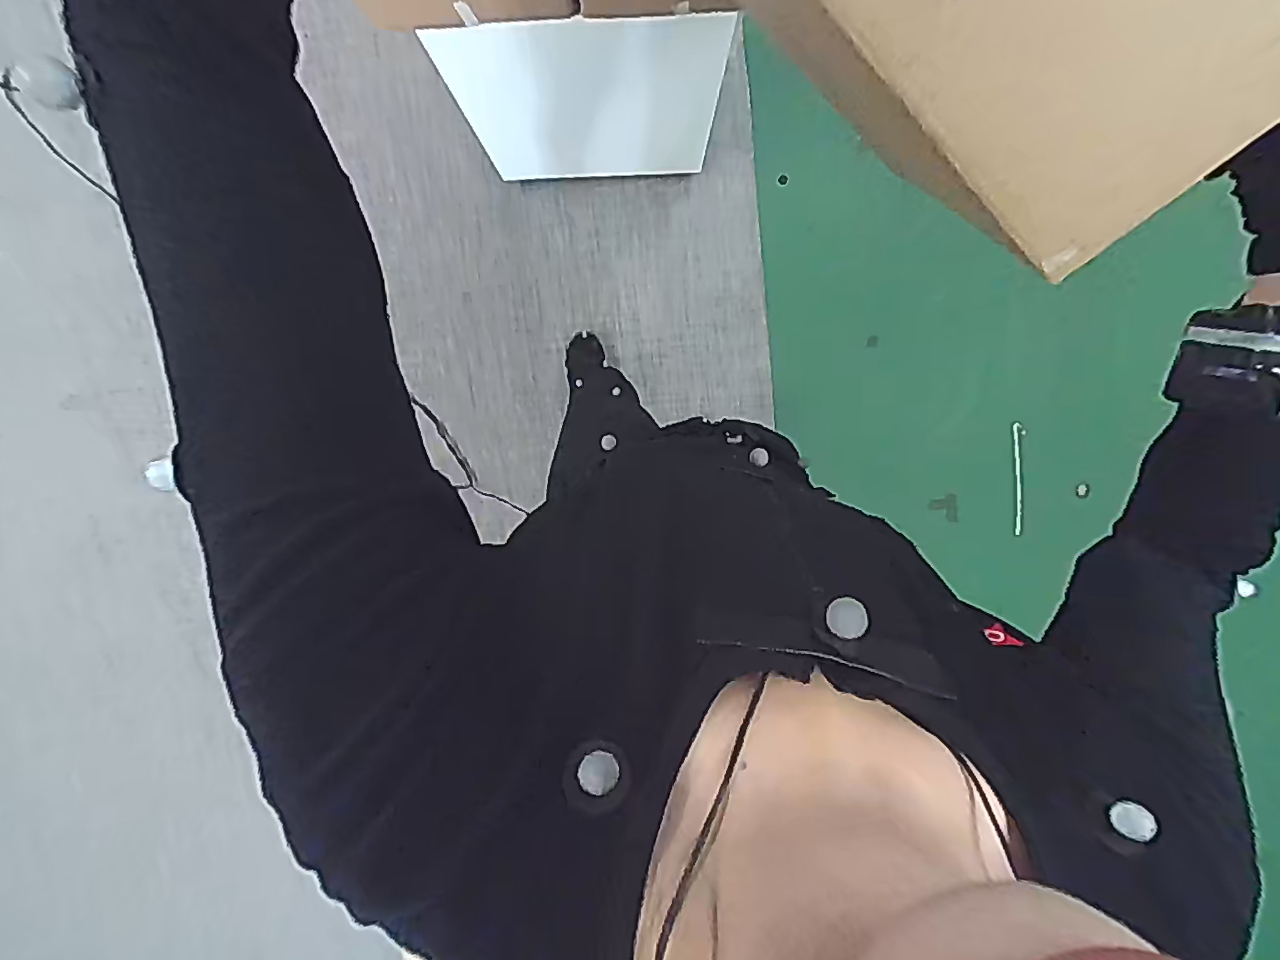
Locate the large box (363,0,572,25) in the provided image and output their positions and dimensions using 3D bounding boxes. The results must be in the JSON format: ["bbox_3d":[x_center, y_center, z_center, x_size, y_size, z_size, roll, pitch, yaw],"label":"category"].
[{"bbox_3d":[-0.267,-0.879,0.651,0.320,0.320,0.408,-3,96,0],"label":"large box"}]
